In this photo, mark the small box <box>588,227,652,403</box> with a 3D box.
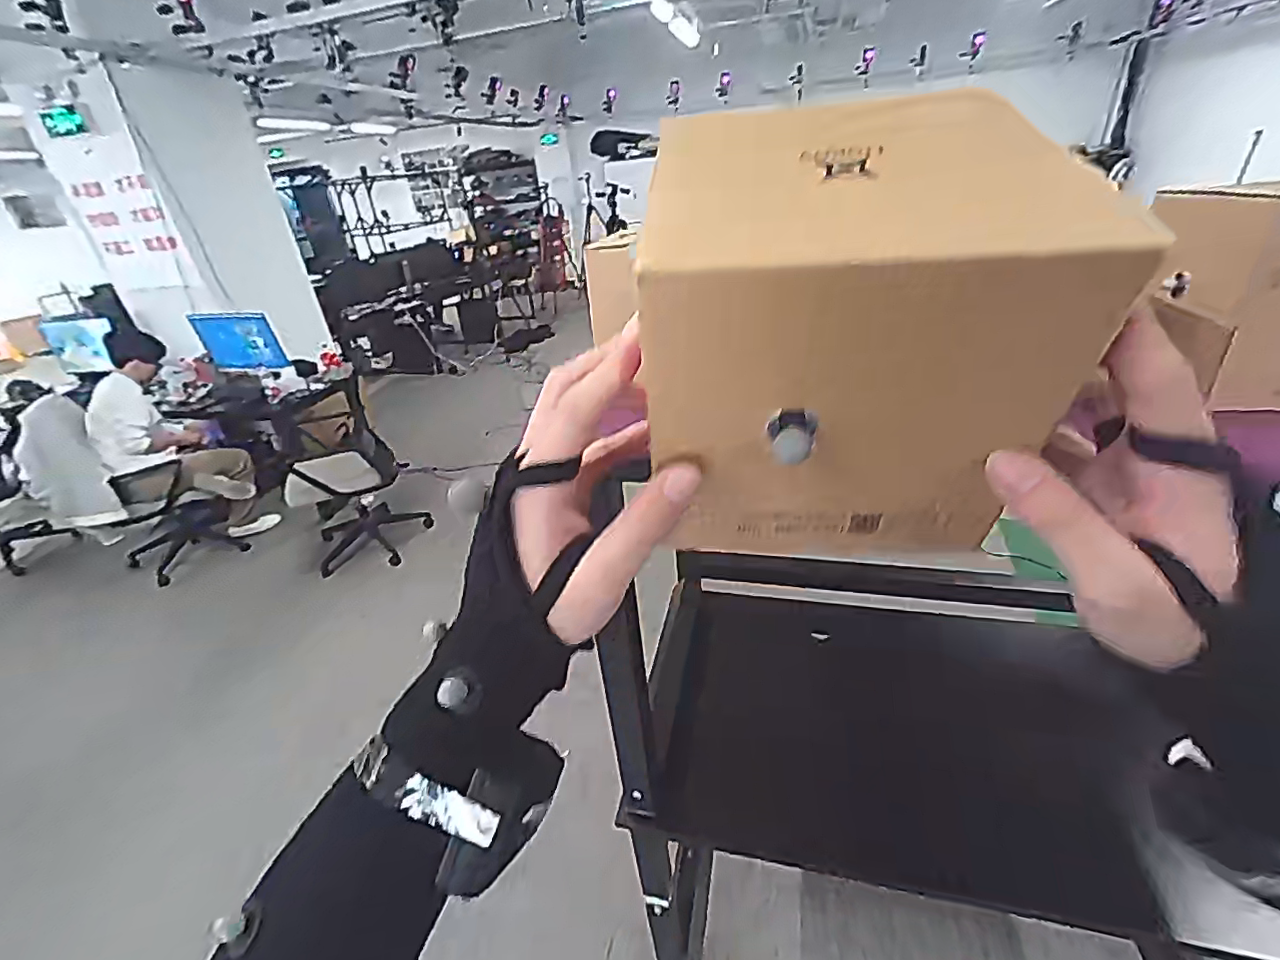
[{"bbox_3d":[0.054,-0.192,0.618,0.179,0.176,0.168,2,30,12],"label":"small box"}]

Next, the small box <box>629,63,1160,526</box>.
[{"bbox_3d":[0.094,-0.089,0.286,0.168,0.176,0.179,0,47,8],"label":"small box"}]
